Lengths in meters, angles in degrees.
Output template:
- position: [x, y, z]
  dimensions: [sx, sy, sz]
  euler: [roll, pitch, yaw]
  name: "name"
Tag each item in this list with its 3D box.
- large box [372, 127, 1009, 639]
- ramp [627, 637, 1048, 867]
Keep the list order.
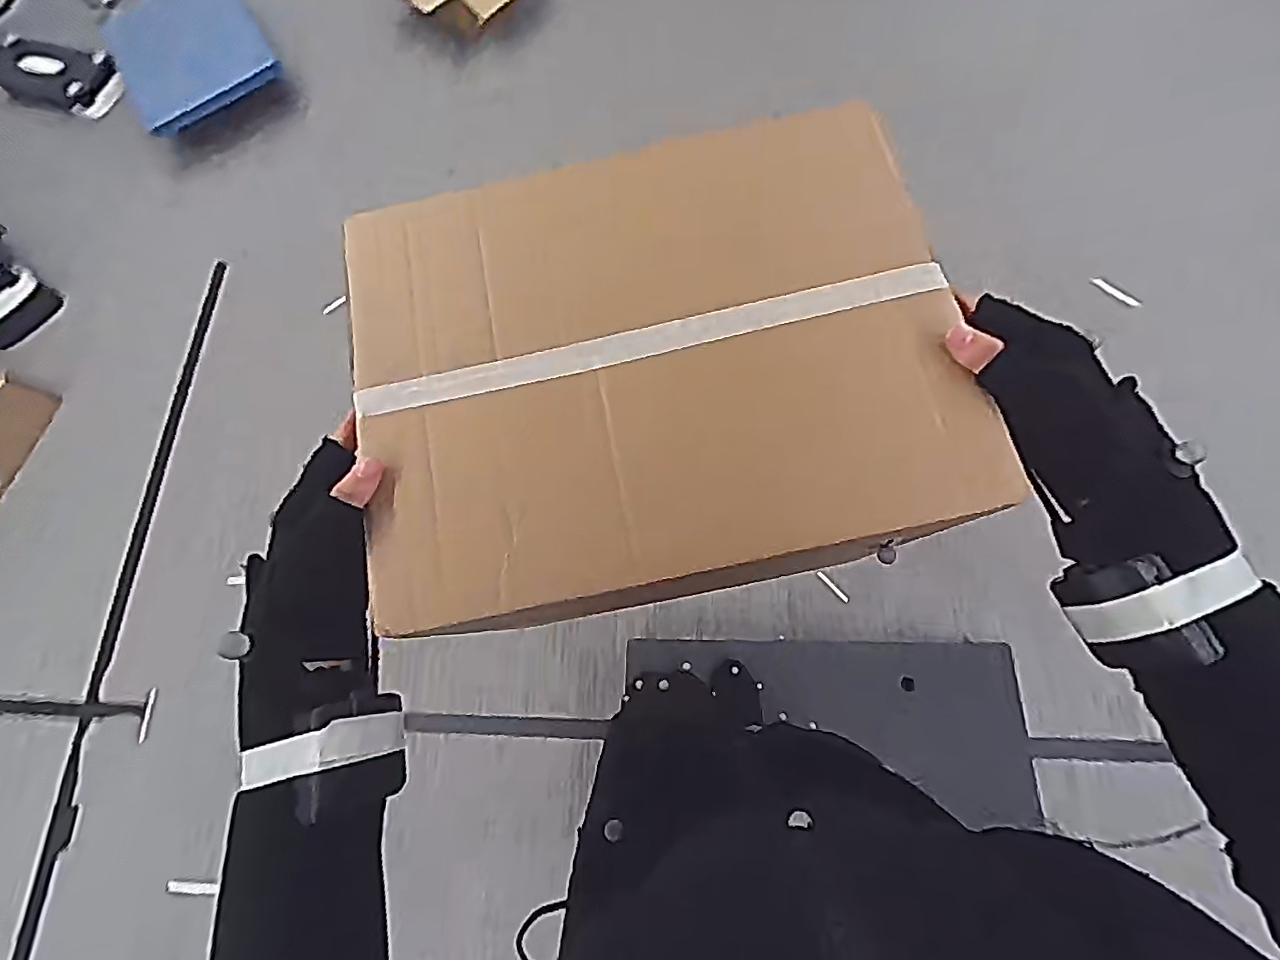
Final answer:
- position: [0.025, -0.050, 0.525]
  dimensions: [0.408, 0.320, 0.320]
  euler: [-12, 75, 2]
  name: "large box"
- position: [0.465, 0.635, 1.311]
  dimensions: [0.991, 0.206, 0.509]
  euler: [-3, 71, 5]
  name: "ramp"
